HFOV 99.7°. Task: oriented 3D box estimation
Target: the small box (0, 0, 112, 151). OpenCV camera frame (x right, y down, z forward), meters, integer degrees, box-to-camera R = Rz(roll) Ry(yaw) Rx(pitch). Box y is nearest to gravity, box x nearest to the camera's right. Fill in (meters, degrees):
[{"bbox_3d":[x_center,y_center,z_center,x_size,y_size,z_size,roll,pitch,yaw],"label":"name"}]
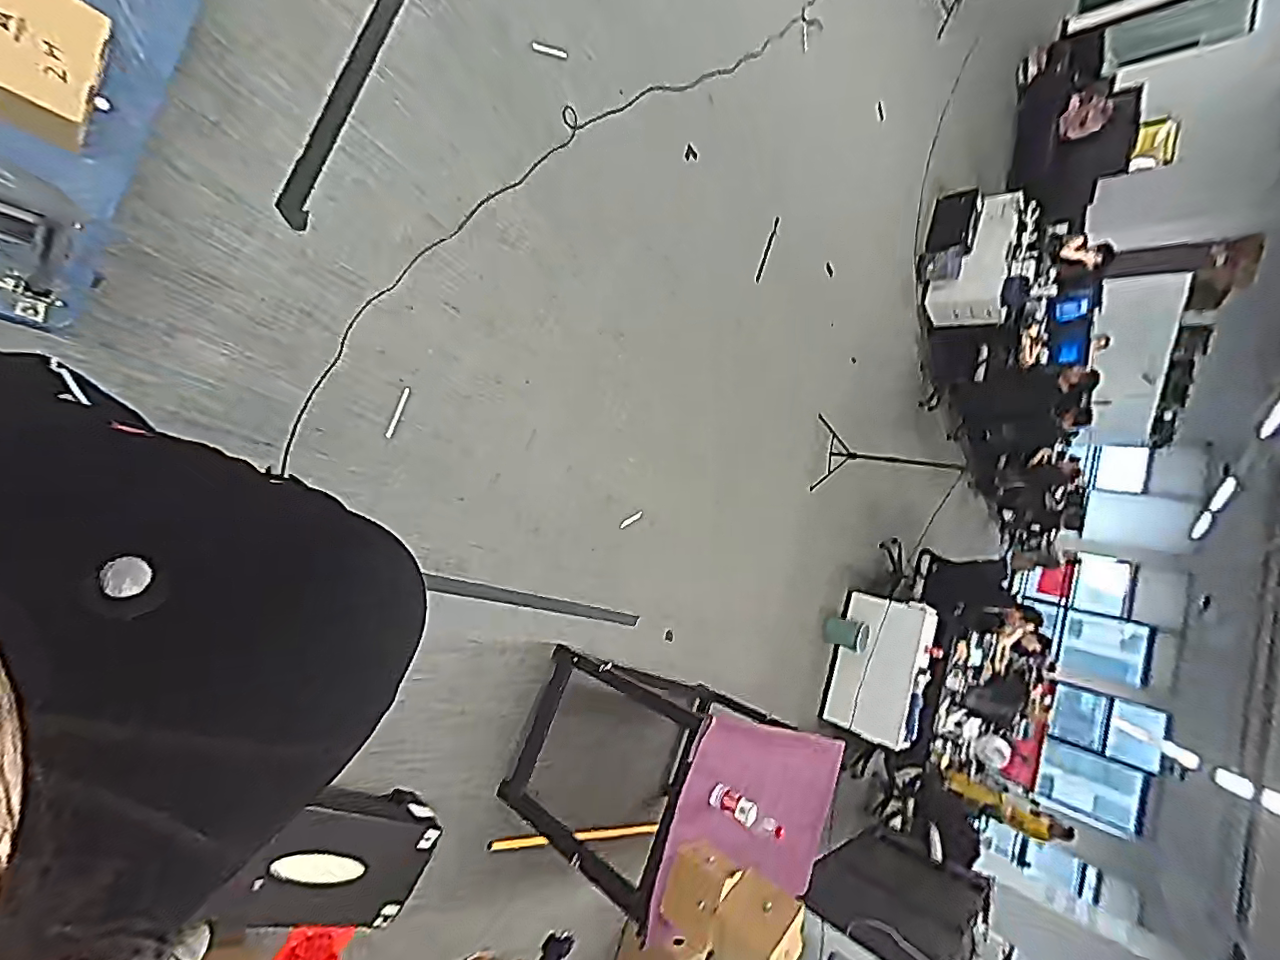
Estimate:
[{"bbox_3d":[-0.908,-0.616,0.778,0.179,0.176,0.168,17,85,-48],"label":"small box"}]
